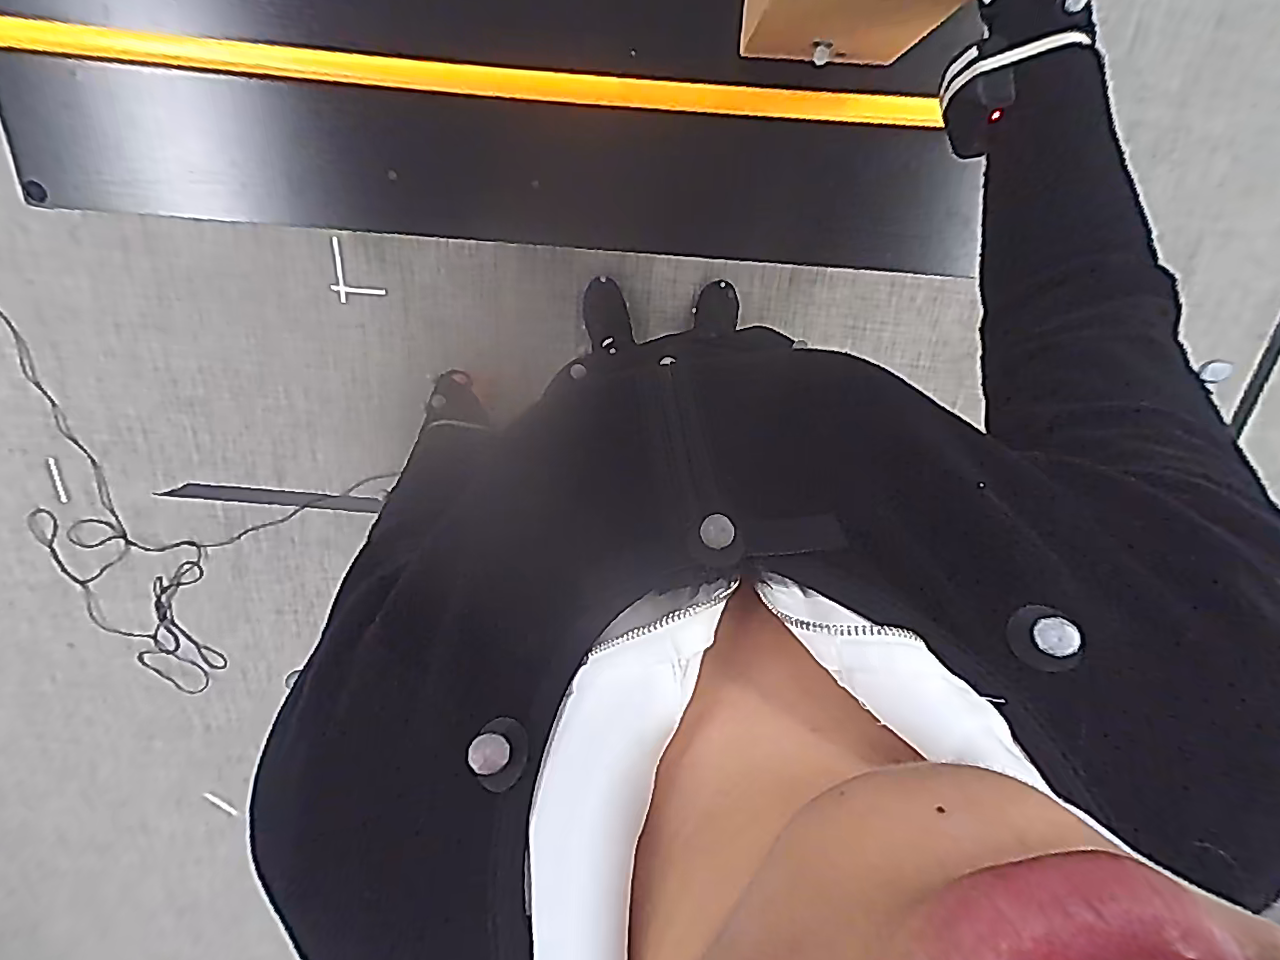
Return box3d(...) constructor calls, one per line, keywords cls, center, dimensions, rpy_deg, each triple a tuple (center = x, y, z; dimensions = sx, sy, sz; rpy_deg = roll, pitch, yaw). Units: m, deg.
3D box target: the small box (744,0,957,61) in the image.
box3d(cls="small box", center=(0.196, -0.516, 0.485), dimensions=(0.168, 0.176, 0.179), rpy_deg=(3, 112, -1))
